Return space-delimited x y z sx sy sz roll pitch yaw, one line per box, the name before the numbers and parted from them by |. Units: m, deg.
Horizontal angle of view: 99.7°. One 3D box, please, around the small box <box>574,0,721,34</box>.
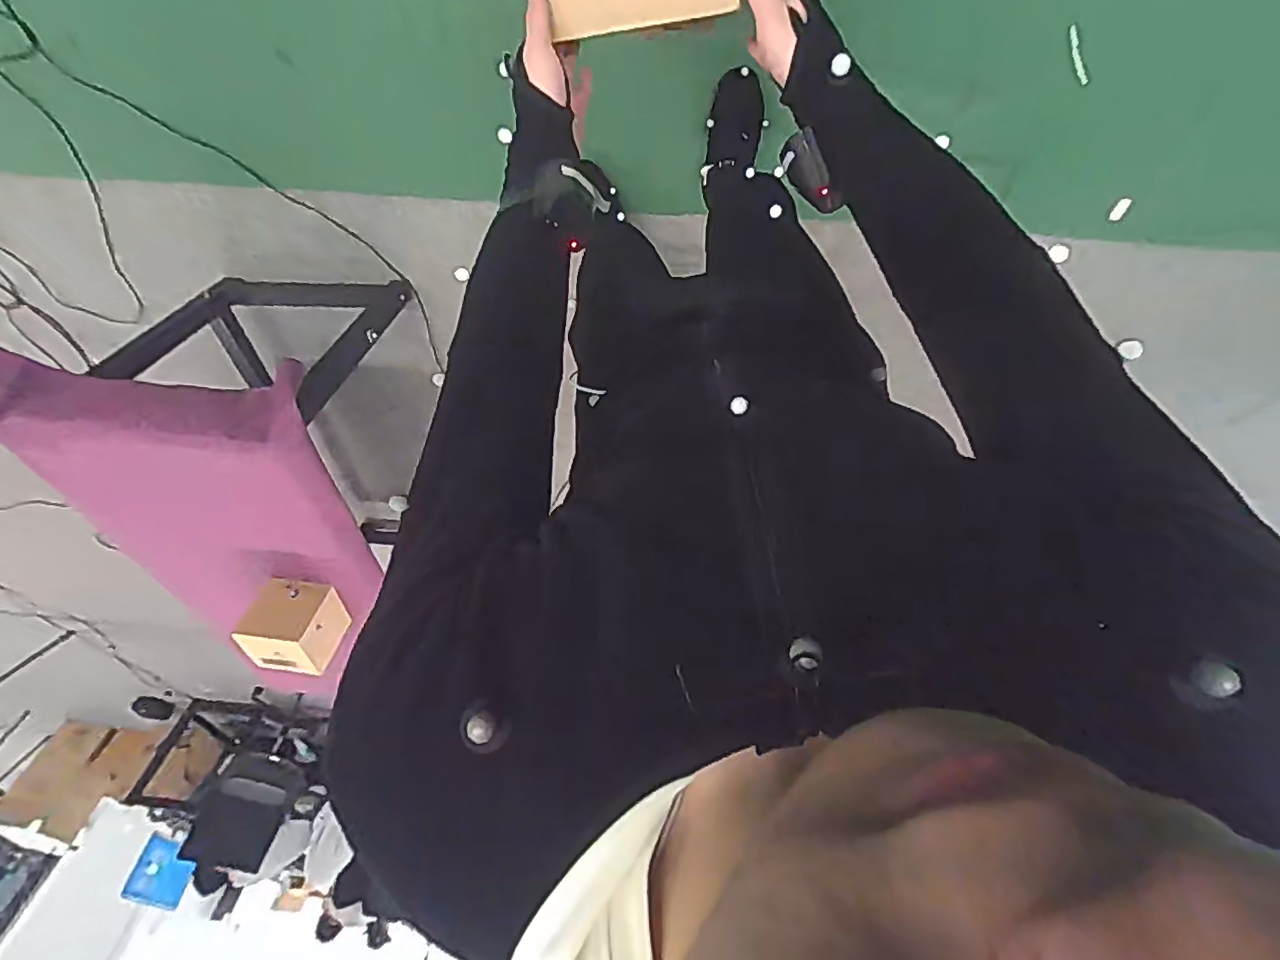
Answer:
small box | 0.017 -0.631 0.611 0.168 0.176 0.179 5 135 4
